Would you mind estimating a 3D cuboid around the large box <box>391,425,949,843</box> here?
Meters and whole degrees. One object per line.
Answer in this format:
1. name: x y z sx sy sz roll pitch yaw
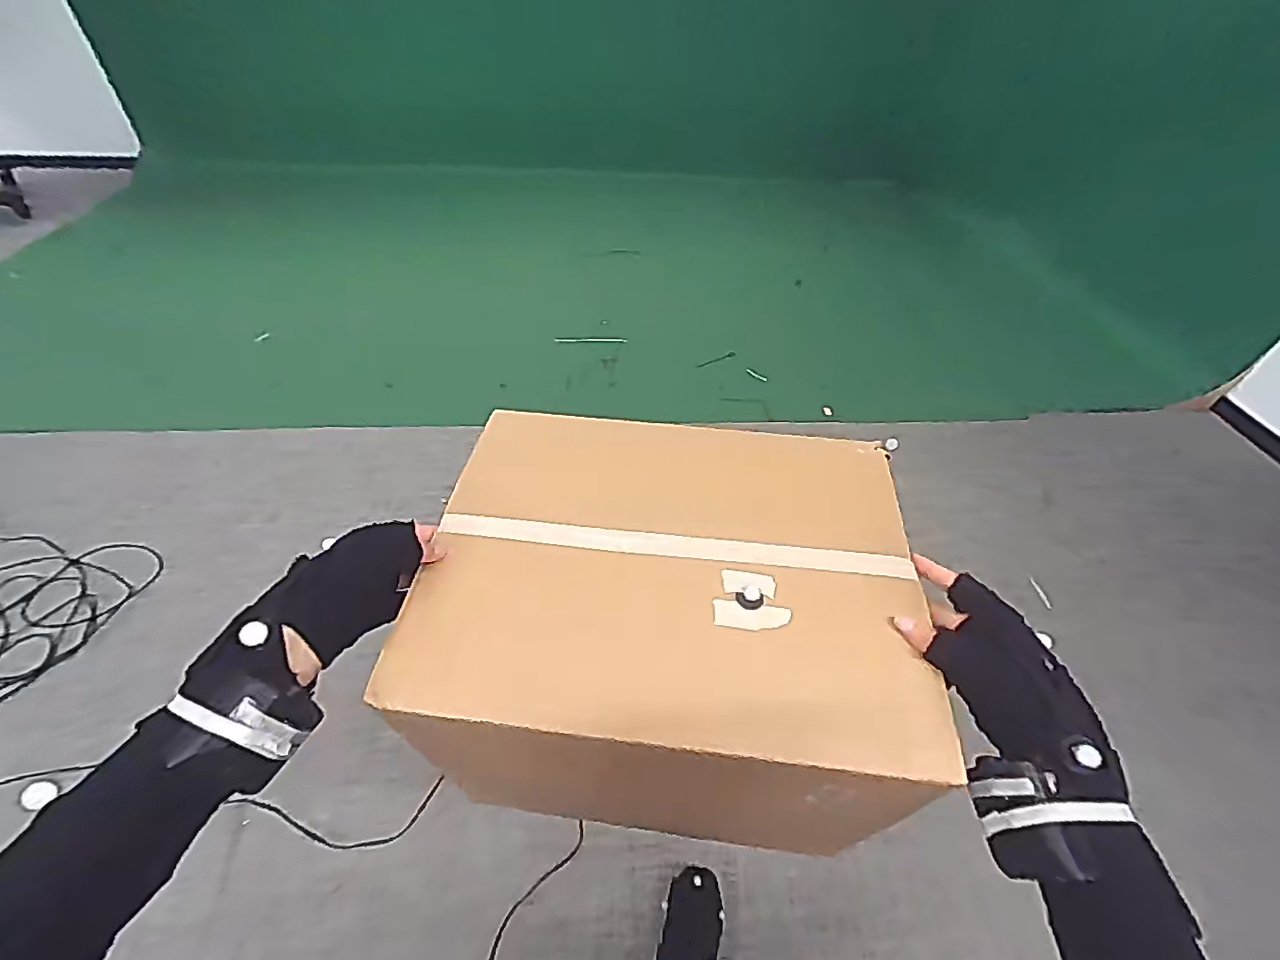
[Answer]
1. large box: 0.029 0.165 0.586 0.408 0.320 0.320 5 49 5
